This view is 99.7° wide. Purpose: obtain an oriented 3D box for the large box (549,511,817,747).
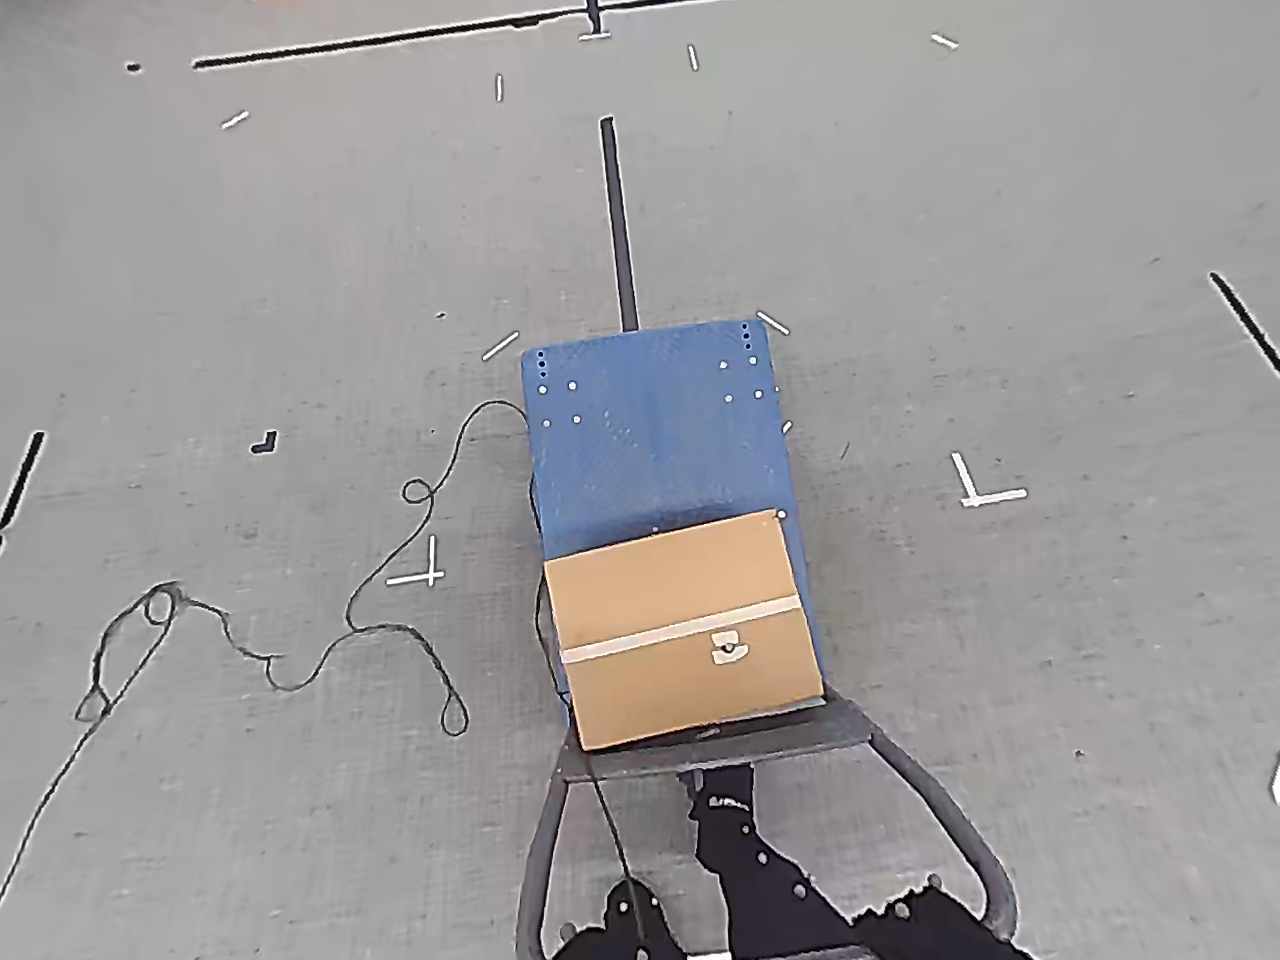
[{"bbox_3d":[0.068,0.265,1.061,0.408,0.320,0.320,-13,84,-2],"label":"large box"}]
